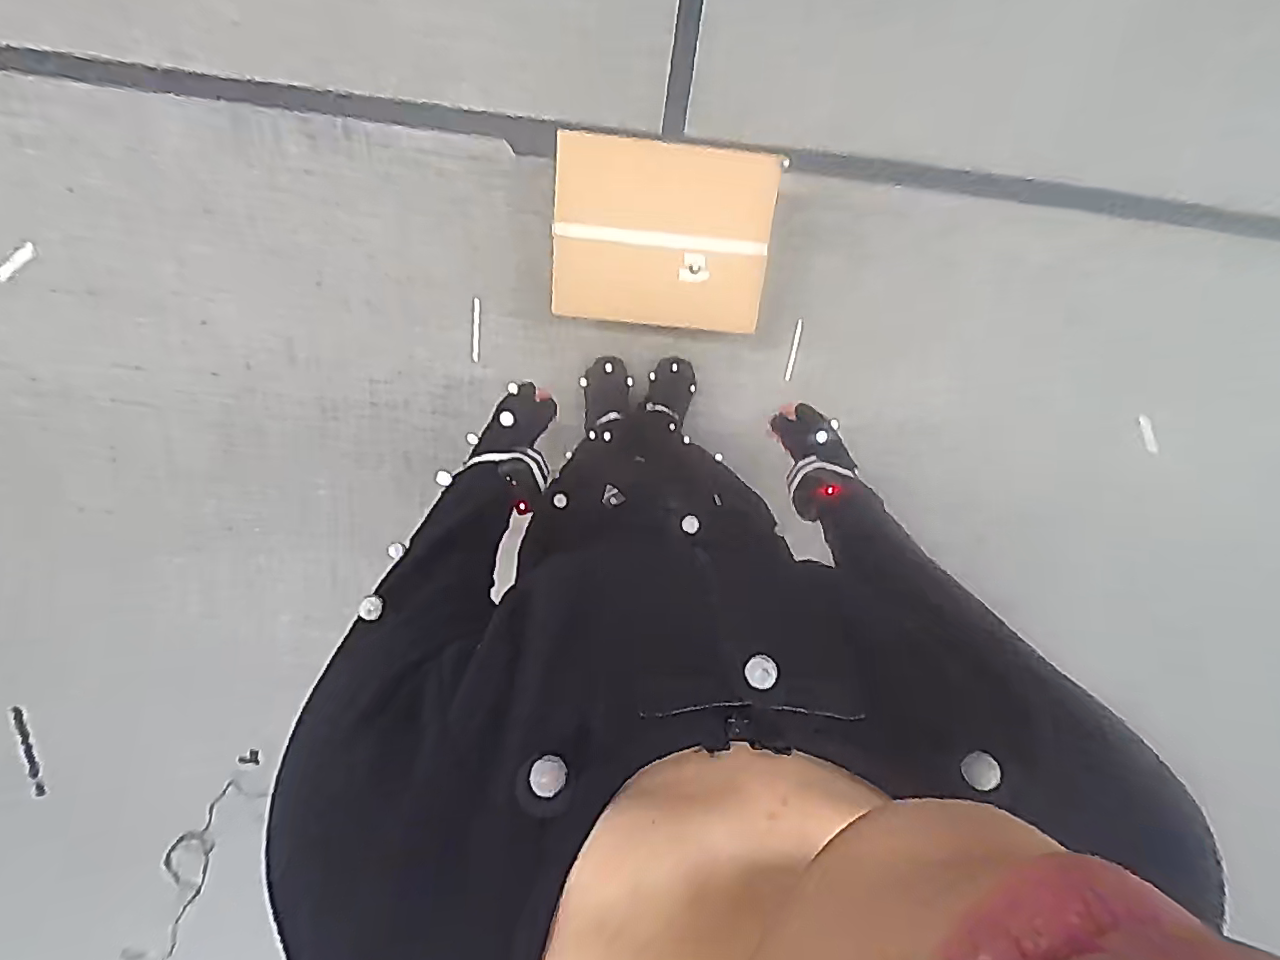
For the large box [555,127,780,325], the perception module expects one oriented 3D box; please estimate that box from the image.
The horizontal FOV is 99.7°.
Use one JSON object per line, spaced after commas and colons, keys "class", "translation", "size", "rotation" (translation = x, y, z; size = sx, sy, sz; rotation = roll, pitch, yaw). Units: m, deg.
{"class": "large box", "translation": [0.035, -0.515, 1.145], "size": [0.408, 0.320, 0.320], "rotation": [4, 112, -4]}
